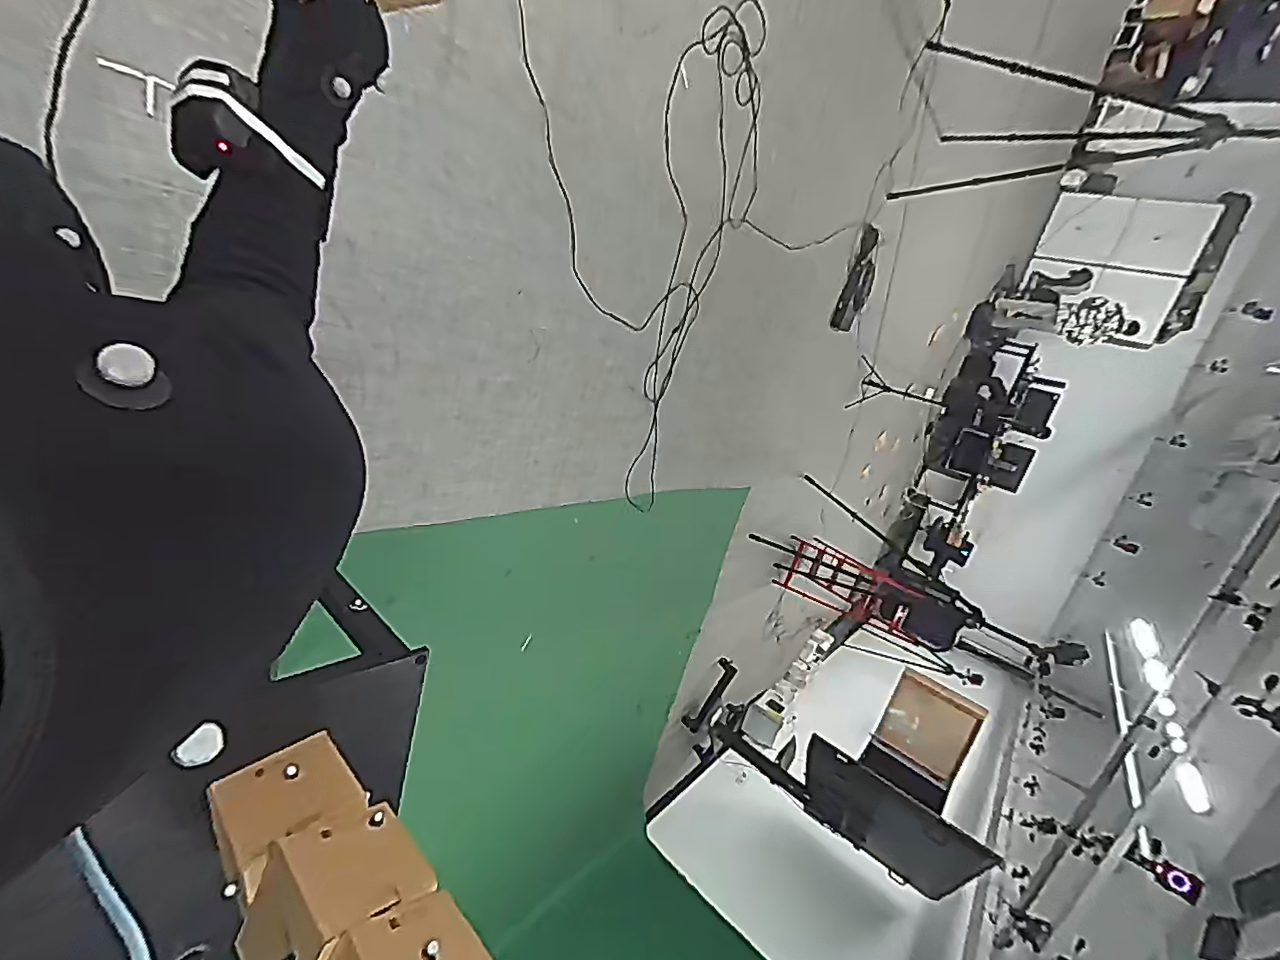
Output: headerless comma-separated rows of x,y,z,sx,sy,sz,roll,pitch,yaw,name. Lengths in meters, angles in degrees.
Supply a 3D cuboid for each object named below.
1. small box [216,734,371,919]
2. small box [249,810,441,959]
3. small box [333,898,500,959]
-0.552,0.556,0.870,0.168,0.176,0.179,-16,124,-47,small box
-0.428,0.618,0.781,0.168,0.176,0.179,16,100,-55,small box
-0.307,0.686,0.692,0.168,0.176,0.179,34,83,-55,small box
